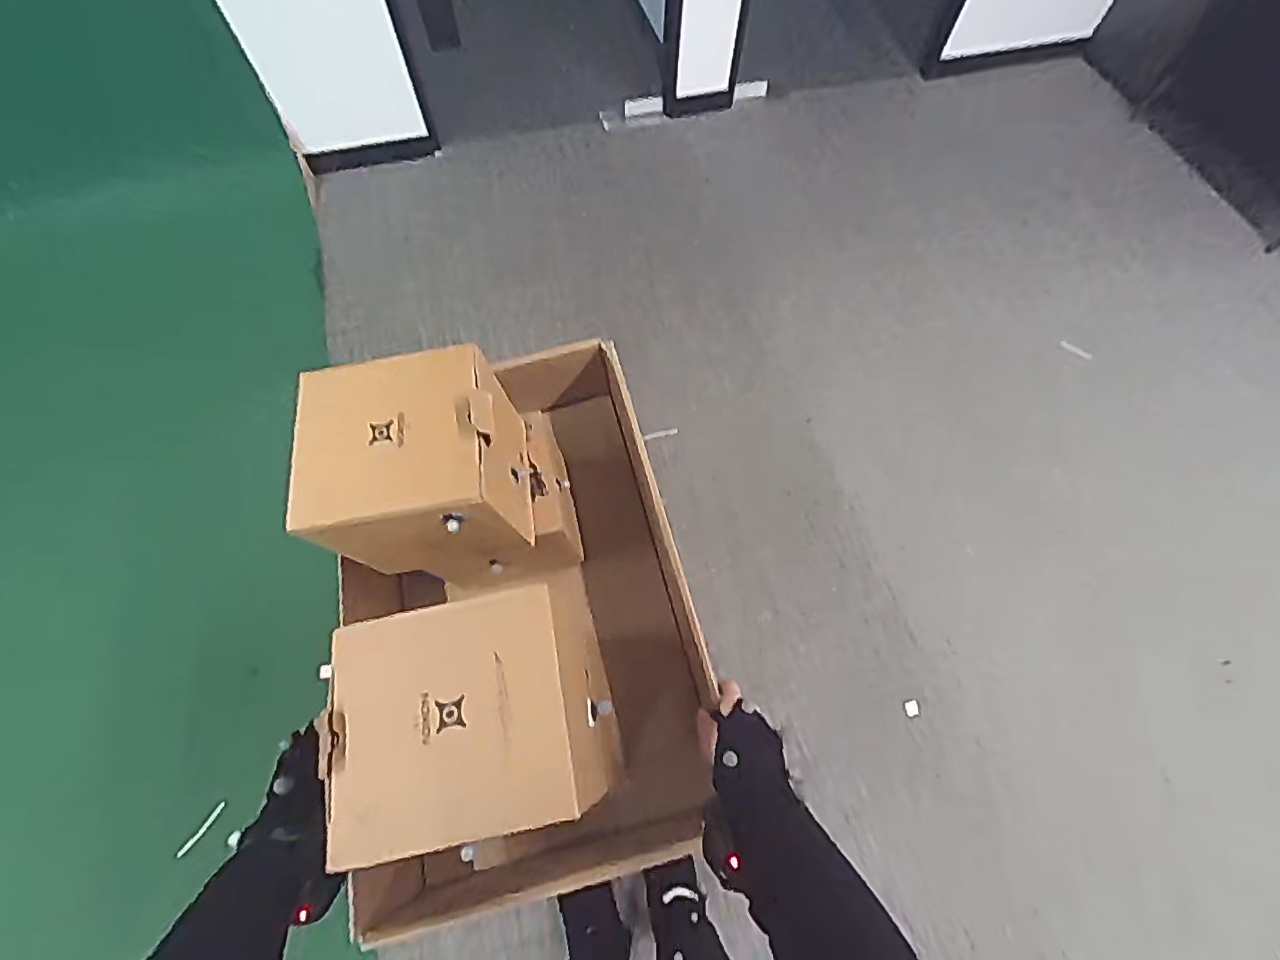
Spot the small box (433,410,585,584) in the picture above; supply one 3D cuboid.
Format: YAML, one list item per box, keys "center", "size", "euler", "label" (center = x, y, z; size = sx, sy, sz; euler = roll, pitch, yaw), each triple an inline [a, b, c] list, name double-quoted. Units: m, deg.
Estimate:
- center: [-0.184, 0.033, 0.725]
  size: [0.179, 0.176, 0.168]
  euler: [-14, 70, -1]
  label: "small box"

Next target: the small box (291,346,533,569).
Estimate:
- center: [-0.224, -0.013, 0.571]
  size: [0.179, 0.176, 0.168]
  euler: [-10, 68, 0]
  label: "small box"

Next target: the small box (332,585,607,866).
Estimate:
- center: [-0.135, 0.205, 0.473]
  size: [0.179, 0.176, 0.168]
  euler: [-12, 67, -2]
  label: "small box"
